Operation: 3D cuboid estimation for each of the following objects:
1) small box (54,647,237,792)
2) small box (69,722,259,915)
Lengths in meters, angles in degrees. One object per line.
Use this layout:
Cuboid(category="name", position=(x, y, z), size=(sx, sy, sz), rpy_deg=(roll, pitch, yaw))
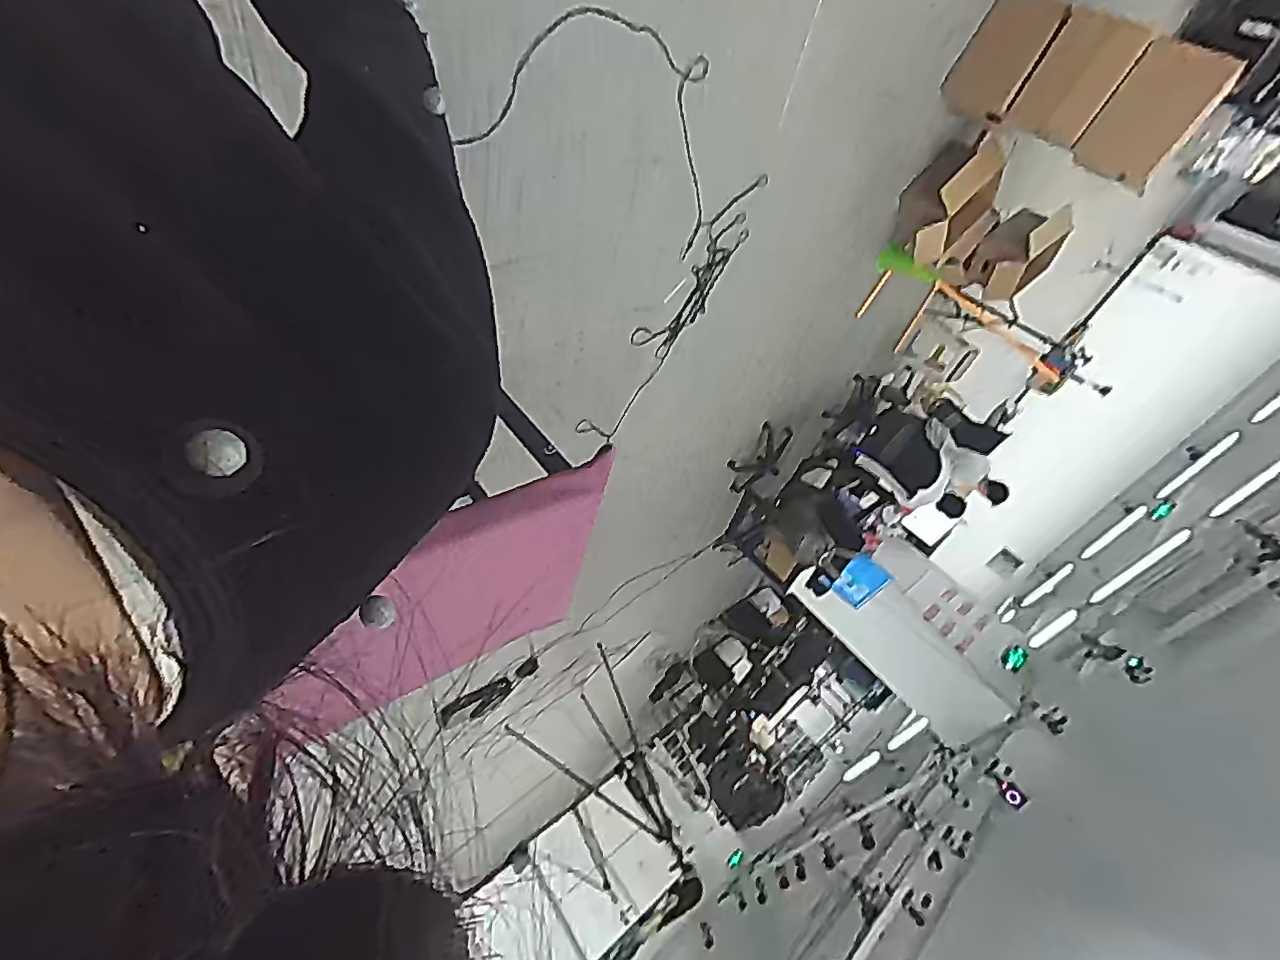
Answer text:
Cuboid(category="small box", position=(-0.825, 0.417, 0.911), size=(0.179, 0.176, 0.168), rpy_deg=(-23, 145, -35))
Cuboid(category="small box", position=(-0.717, 0.508, 0.826), size=(0.168, 0.176, 0.179), rpy_deg=(-23, 146, -37))
